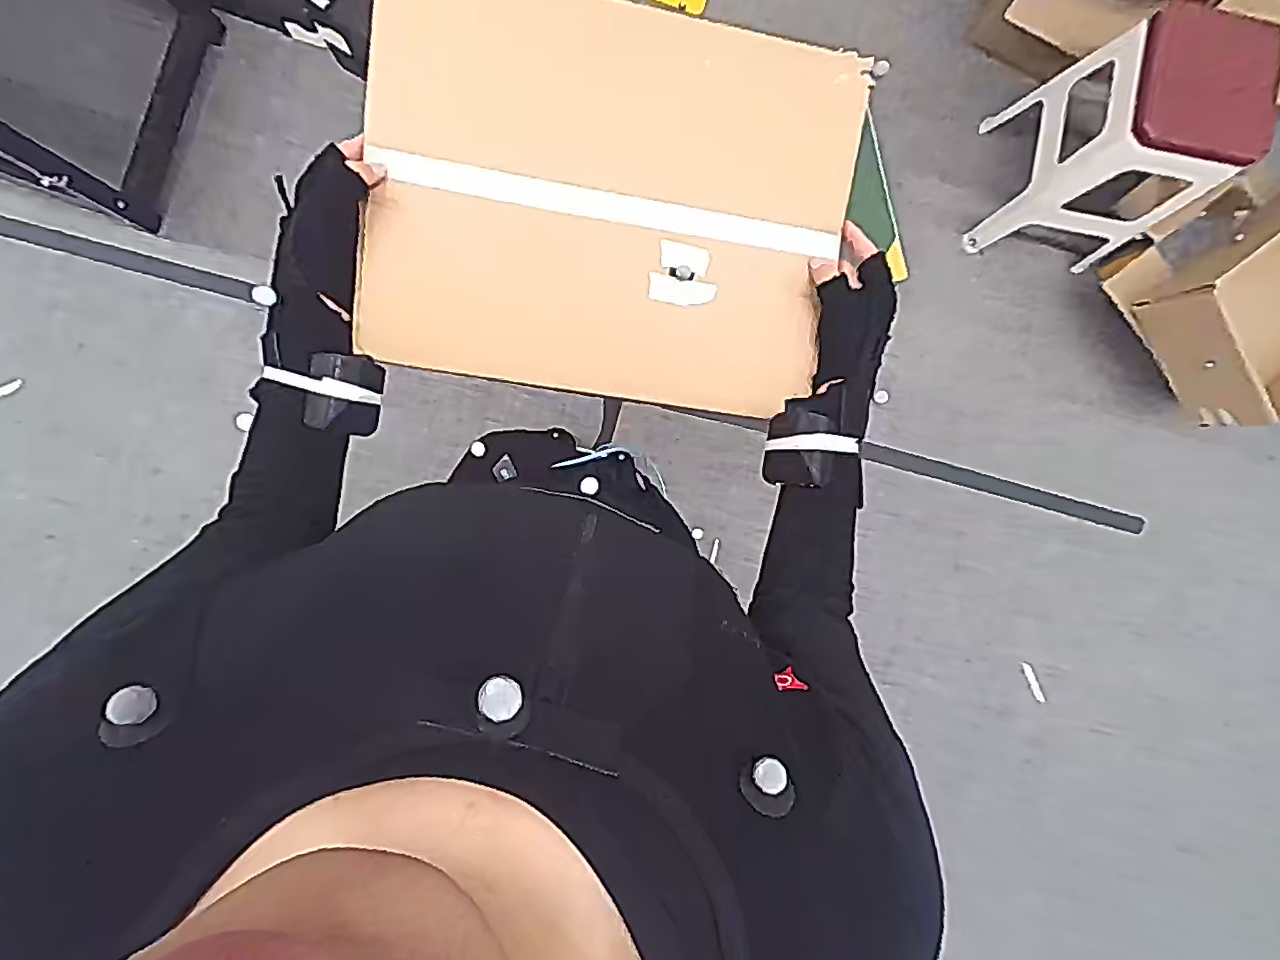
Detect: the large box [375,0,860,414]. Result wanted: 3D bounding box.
[{"bbox_3d":[-0.036,-0.257,0.620,0.408,0.320,0.320,7,99,-8],"label":"large box"}]
